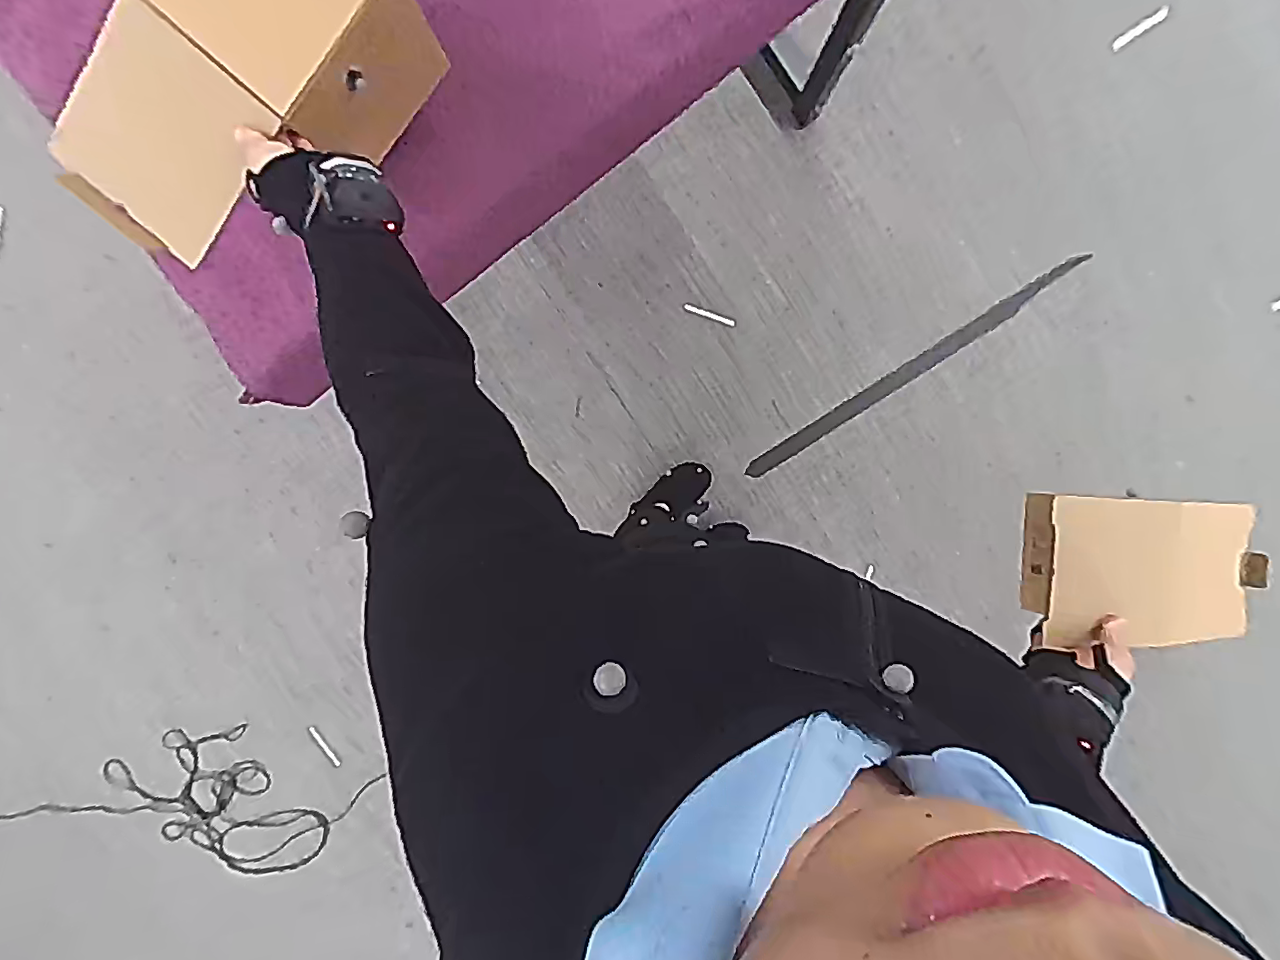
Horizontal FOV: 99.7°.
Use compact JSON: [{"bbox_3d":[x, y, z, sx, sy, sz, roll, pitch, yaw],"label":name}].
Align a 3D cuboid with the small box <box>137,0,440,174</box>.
[{"bbox_3d":[-0.338,-0.461,0.555,0.168,0.176,0.179,40,97,-9],"label":"small box"}]
